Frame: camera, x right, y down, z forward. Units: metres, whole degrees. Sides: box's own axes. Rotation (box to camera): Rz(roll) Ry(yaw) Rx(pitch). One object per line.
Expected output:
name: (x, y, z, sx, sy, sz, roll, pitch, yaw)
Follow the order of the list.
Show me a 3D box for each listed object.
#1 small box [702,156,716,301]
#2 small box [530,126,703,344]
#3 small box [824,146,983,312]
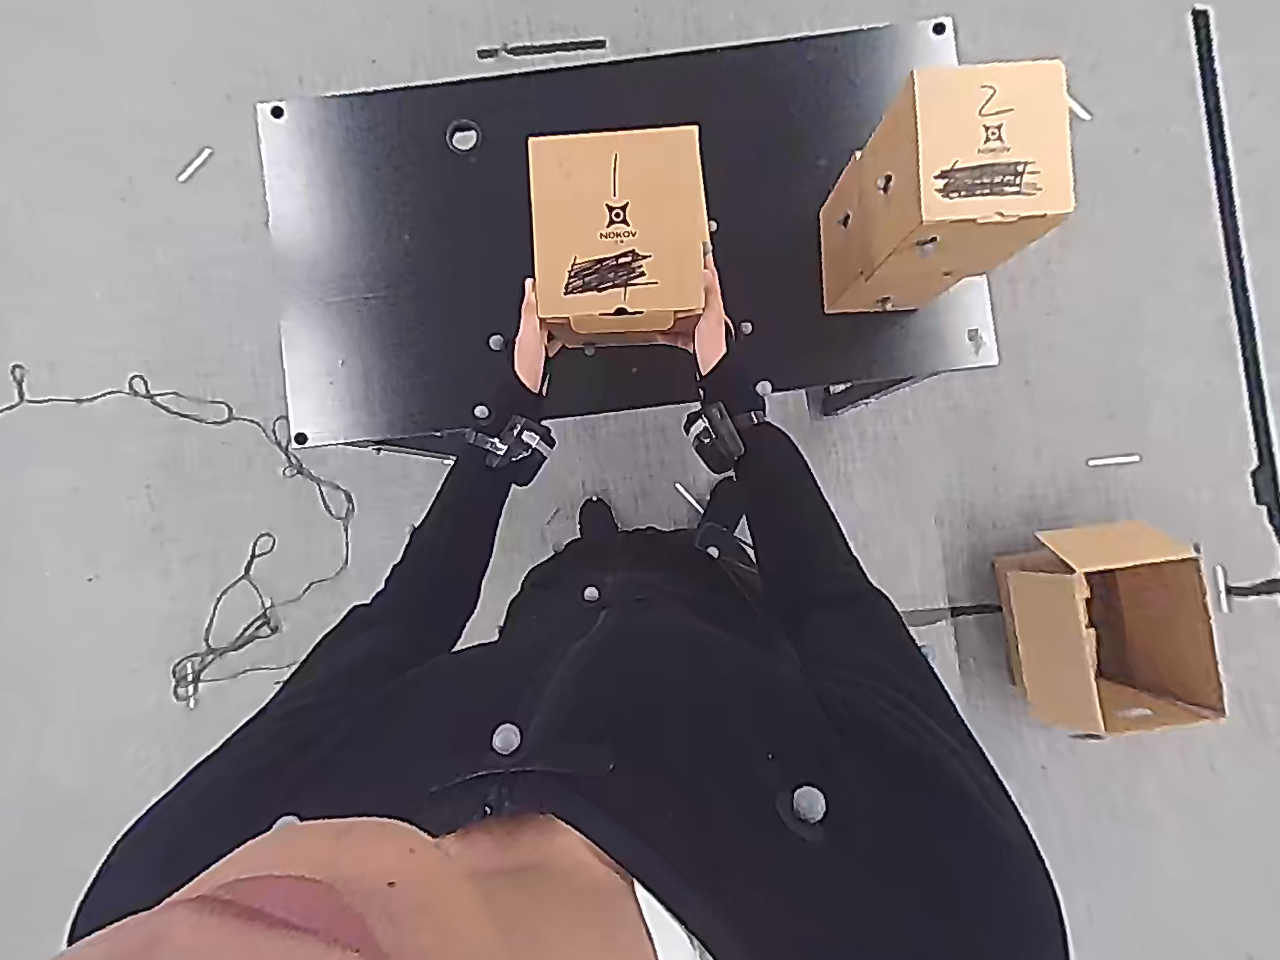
small box: (0.016, -0.367, 0.834, 0.168, 0.176, 0.179, -7, 89, 1)
small box: (-0.017, -0.248, 0.593, 0.168, 0.176, 0.179, -2, 94, 3)
small box: (0.388, -0.372, 0.825, 0.168, 0.176, 0.179, -2, 89, 2)
